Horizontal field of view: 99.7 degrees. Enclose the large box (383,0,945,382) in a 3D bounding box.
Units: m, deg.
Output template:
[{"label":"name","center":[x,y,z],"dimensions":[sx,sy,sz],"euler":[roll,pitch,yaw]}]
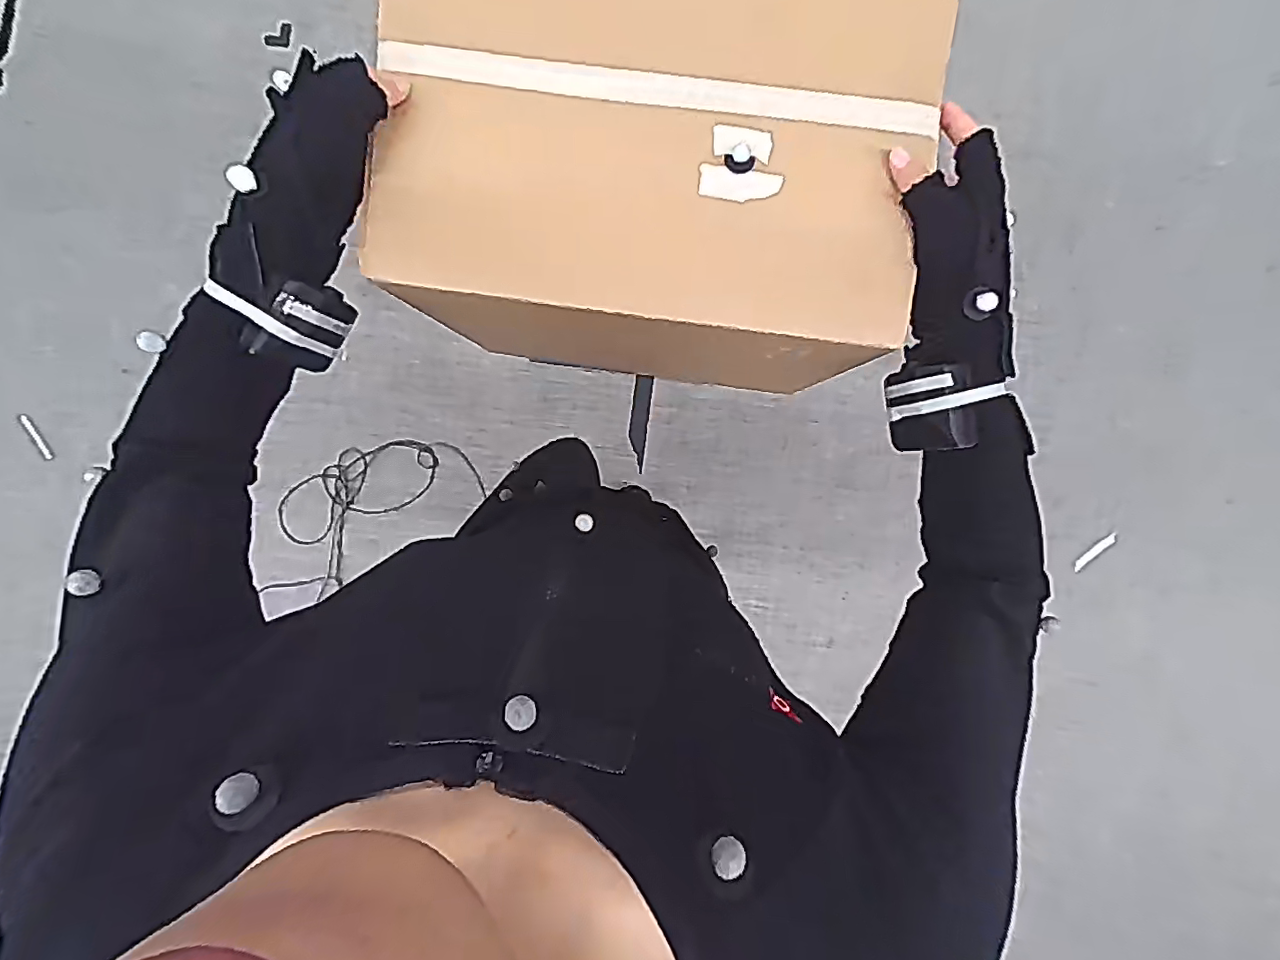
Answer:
[{"label":"large box","center":[0.018,-0.294,0.552],"dimensions":[0.408,0.320,0.320],"euler":[8,93,0]}]
